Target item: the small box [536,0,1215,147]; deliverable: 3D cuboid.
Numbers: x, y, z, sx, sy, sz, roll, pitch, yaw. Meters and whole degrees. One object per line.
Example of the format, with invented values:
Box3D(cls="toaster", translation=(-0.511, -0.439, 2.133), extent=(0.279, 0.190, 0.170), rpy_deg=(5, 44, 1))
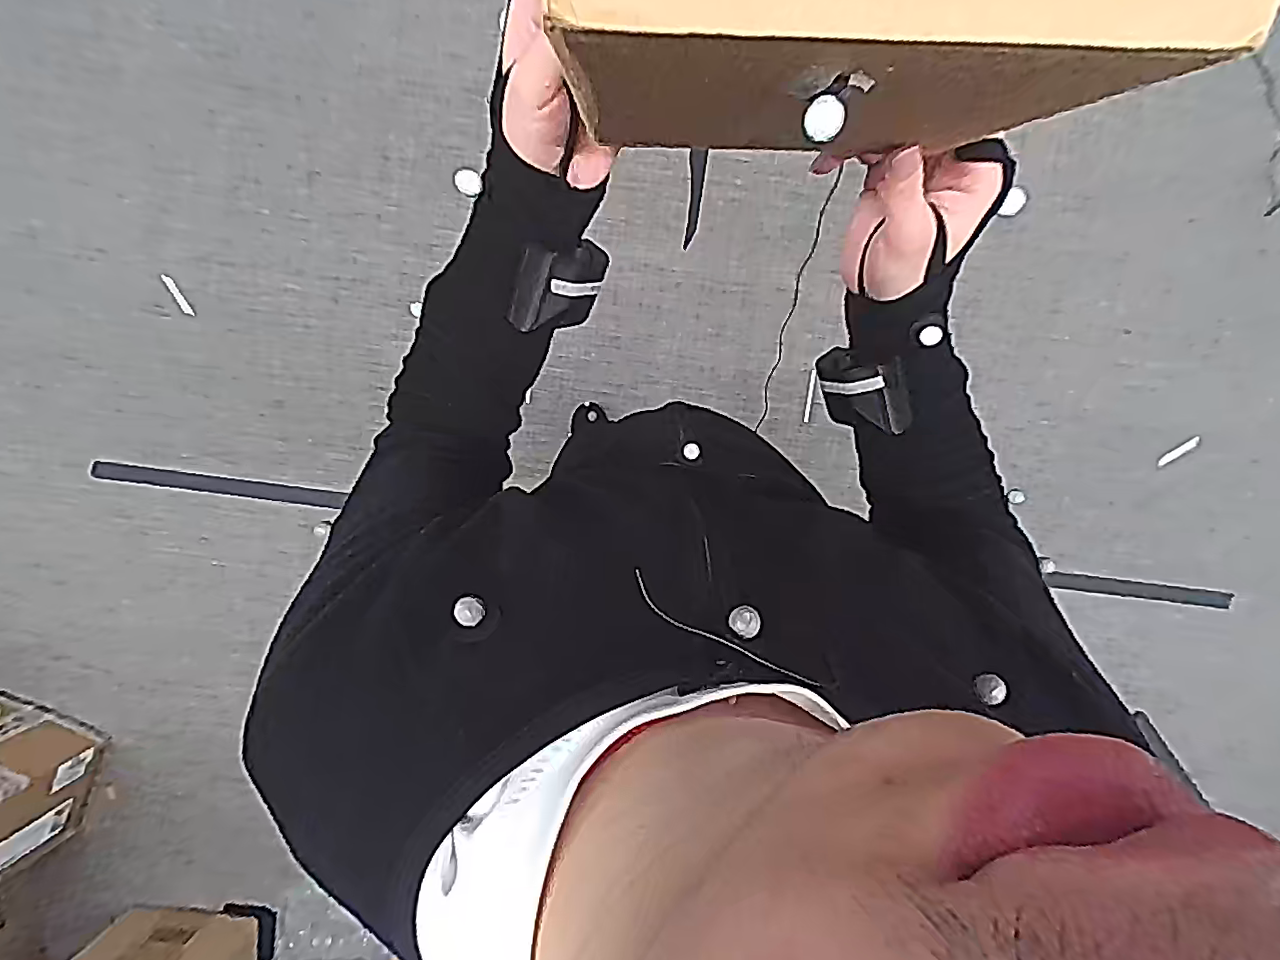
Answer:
Box3D(cls="small box", translation=(0.062, -0.221, 0.183), extent=(0.179, 0.176, 0.168), rpy_deg=(1, 114, 0))
